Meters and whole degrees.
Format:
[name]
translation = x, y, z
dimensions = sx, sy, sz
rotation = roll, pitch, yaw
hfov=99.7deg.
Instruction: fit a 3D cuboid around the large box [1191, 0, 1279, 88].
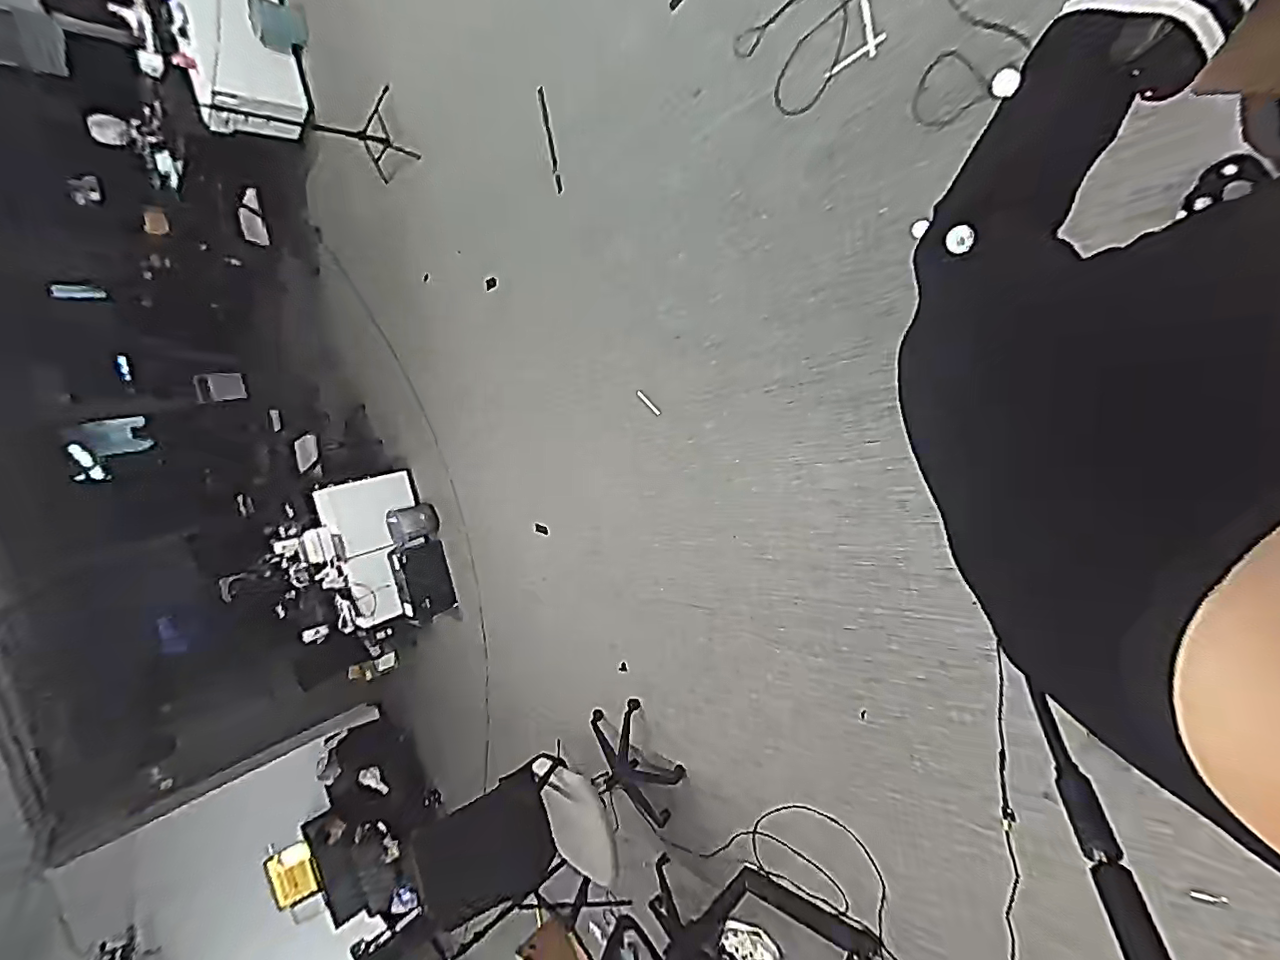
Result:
[large box]
translation = 0.603, -0.426, 0.256
dimensions = 0.408, 0.320, 0.320
rotation = 25, 121, 36
